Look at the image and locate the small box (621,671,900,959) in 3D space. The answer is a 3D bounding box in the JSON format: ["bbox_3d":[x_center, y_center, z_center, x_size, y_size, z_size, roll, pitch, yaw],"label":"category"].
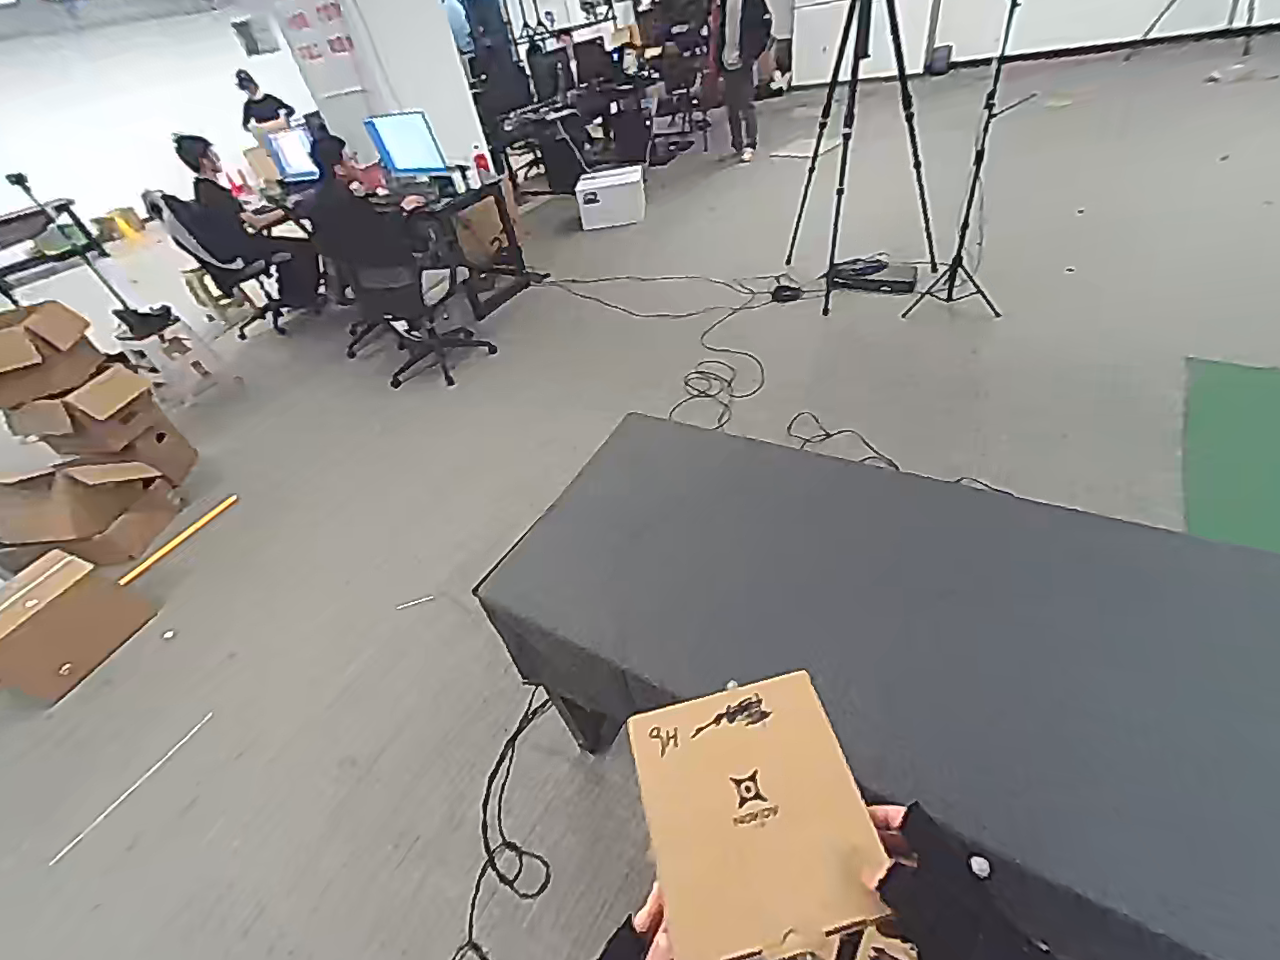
[{"bbox_3d":[0.089,0.297,0.467,0.168,0.176,0.179,-14,48,-3],"label":"small box"}]

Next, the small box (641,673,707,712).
[{"bbox_3d":[0.108,0.647,1.401,0.168,0.176,0.179,23,51,35],"label":"small box"}]
